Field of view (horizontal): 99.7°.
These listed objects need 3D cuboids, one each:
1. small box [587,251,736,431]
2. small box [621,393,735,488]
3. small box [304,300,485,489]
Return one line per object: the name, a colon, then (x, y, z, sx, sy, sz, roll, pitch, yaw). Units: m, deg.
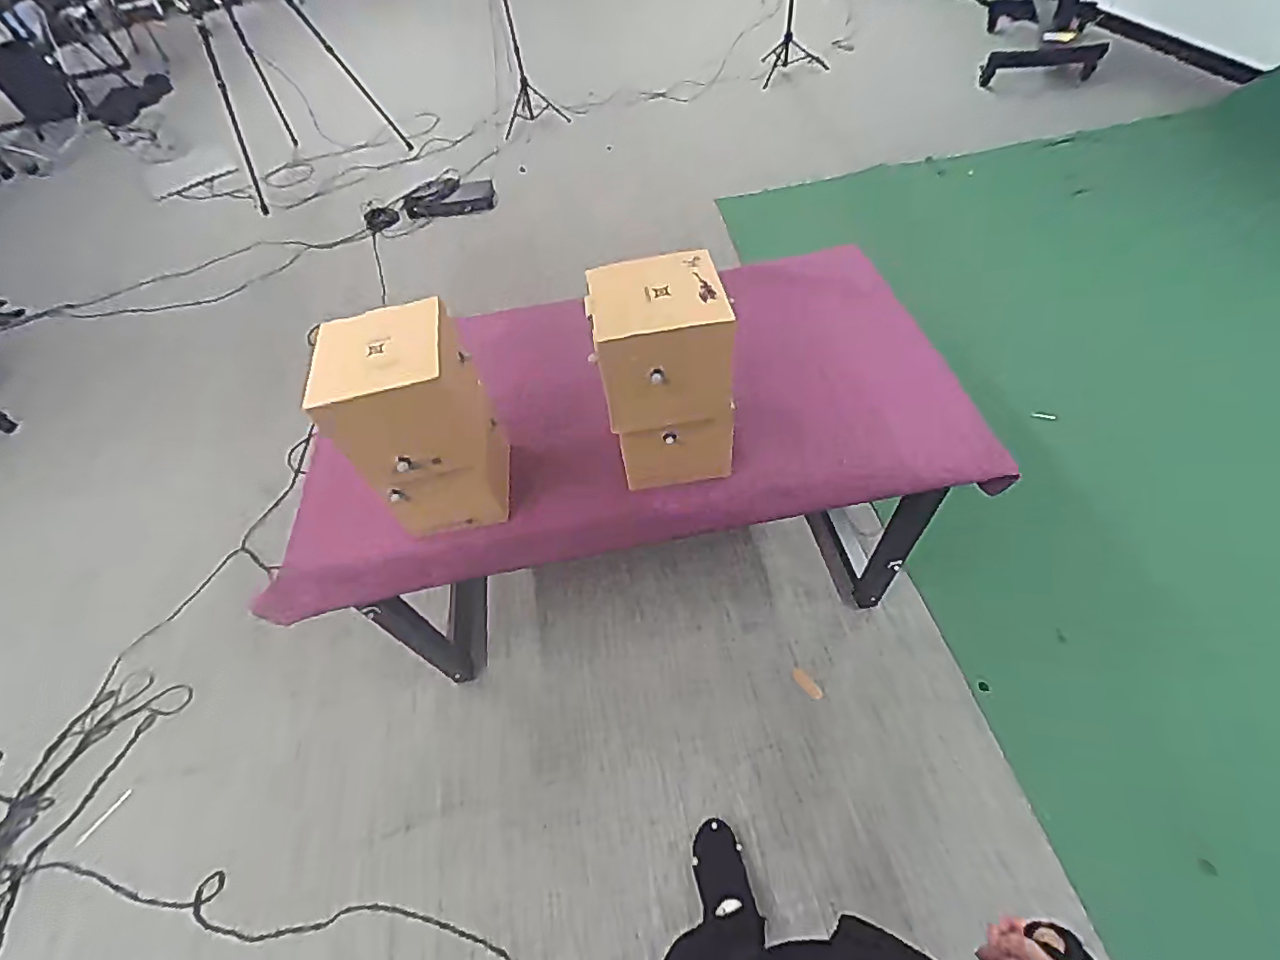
small box: (0.032, -0.188, 0.759, 0.179, 0.176, 0.168, -10, 53, 0)
small box: (0.055, -0.103, 0.898, 0.179, 0.176, 0.168, -8, 53, 0)
small box: (-0.323, -0.116, 0.749, 0.168, 0.176, 0.179, -14, 53, -3)
